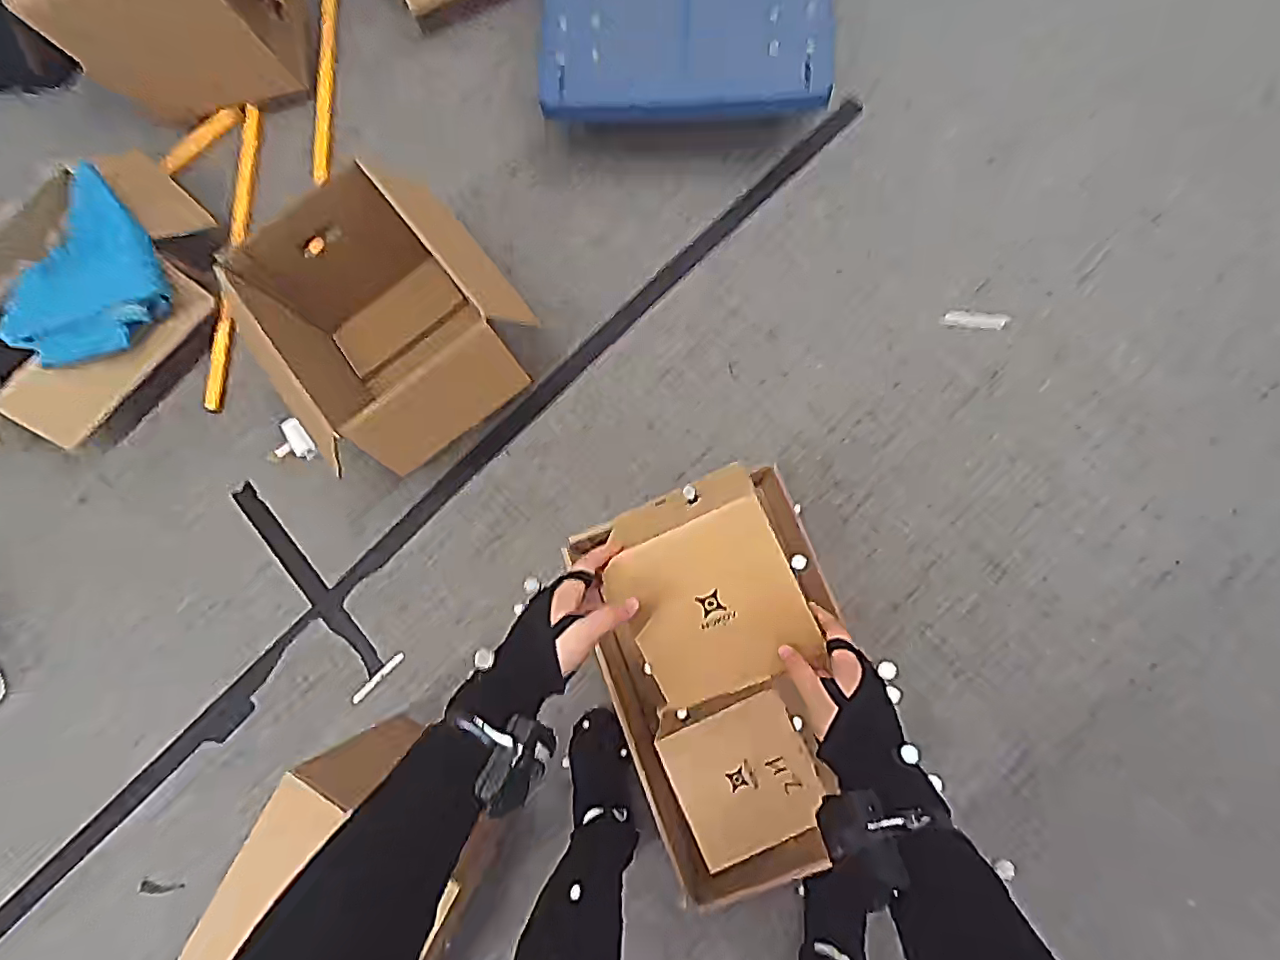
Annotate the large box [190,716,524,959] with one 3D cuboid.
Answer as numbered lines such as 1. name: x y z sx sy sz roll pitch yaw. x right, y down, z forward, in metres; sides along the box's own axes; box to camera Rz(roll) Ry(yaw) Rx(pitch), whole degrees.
1. large box: -0.452 0.689 0.904 0.320 0.320 0.408 27 86 9

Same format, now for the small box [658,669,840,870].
1. small box: 0.142 0.382 0.747 0.179 0.176 0.168 -26 78 0
